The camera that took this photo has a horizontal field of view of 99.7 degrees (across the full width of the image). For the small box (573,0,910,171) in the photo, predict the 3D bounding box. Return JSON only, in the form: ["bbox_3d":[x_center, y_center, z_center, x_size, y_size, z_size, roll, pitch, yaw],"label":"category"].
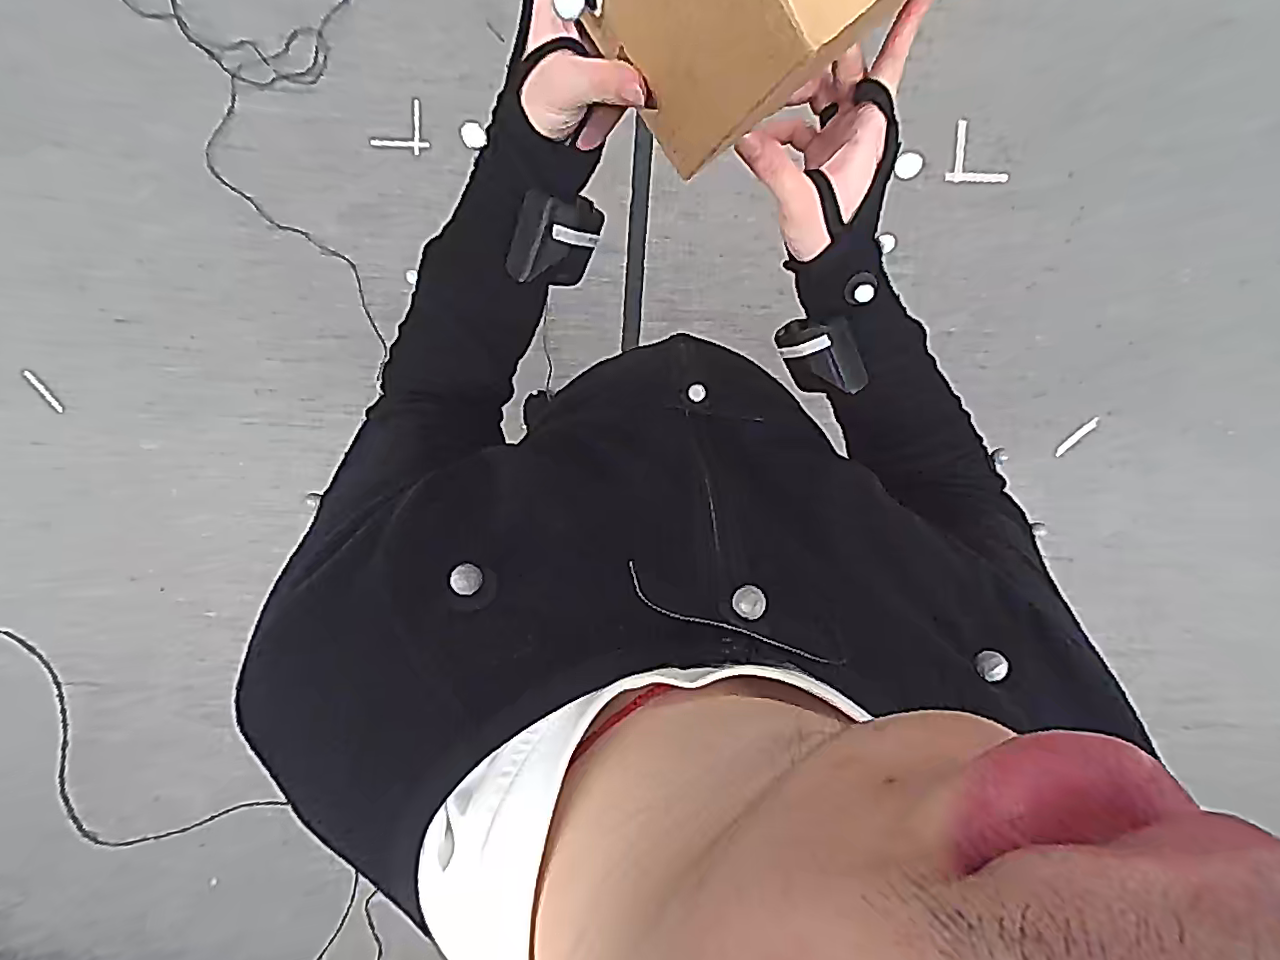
[{"bbox_3d":[0.062,-0.271,0.222,0.179,0.176,0.168,-39,108,4],"label":"small box"}]
